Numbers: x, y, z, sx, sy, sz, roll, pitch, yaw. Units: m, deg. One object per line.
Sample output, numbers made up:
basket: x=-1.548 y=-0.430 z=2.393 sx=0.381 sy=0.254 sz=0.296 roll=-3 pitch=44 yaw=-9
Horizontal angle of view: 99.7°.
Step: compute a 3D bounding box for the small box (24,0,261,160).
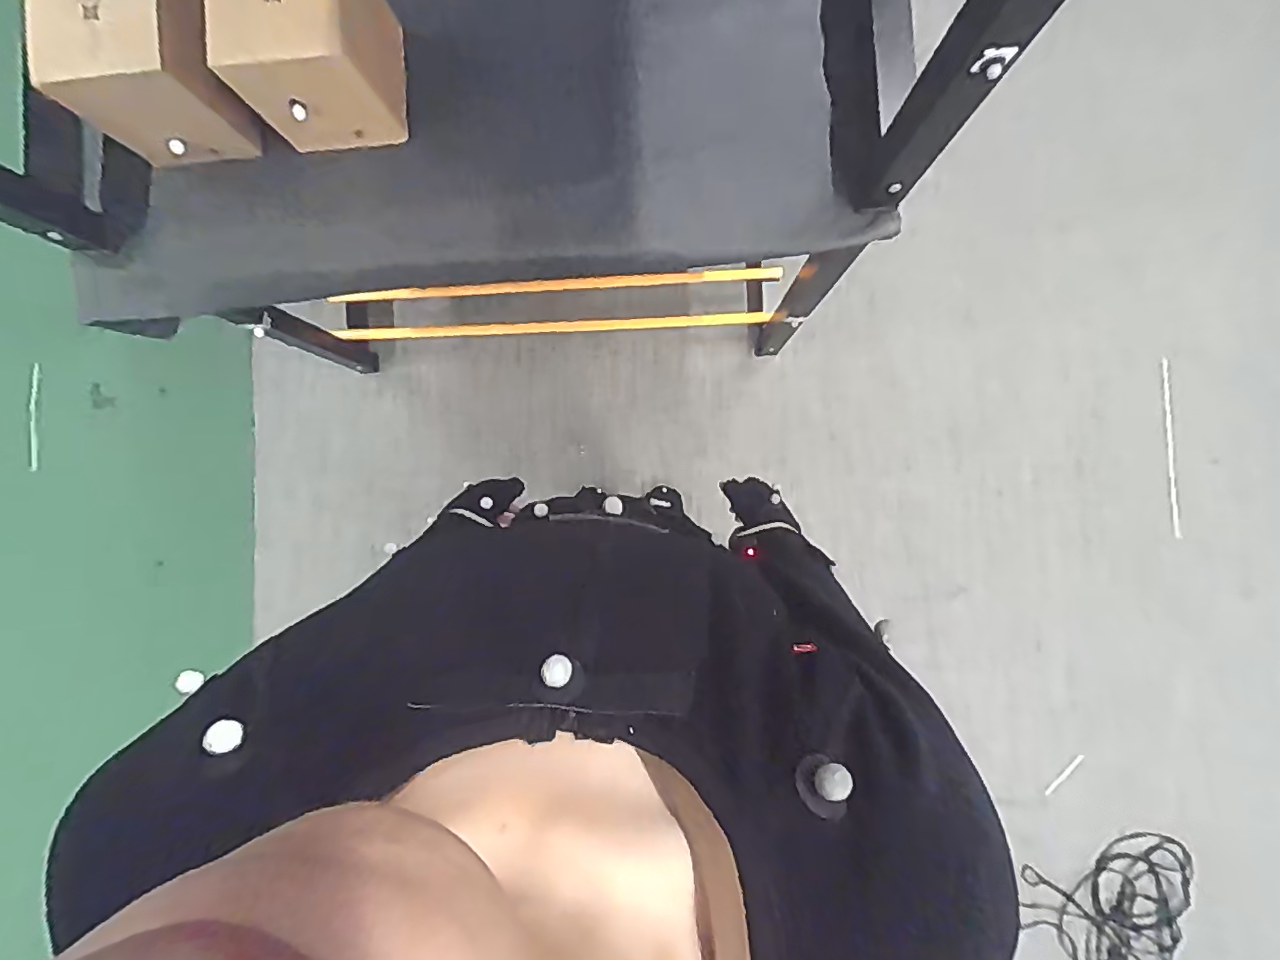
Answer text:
small box: x=-0.645 y=-0.567 z=0.721 sx=0.168 sy=0.176 sz=0.179 roll=-4 pitch=89 yaw=2
